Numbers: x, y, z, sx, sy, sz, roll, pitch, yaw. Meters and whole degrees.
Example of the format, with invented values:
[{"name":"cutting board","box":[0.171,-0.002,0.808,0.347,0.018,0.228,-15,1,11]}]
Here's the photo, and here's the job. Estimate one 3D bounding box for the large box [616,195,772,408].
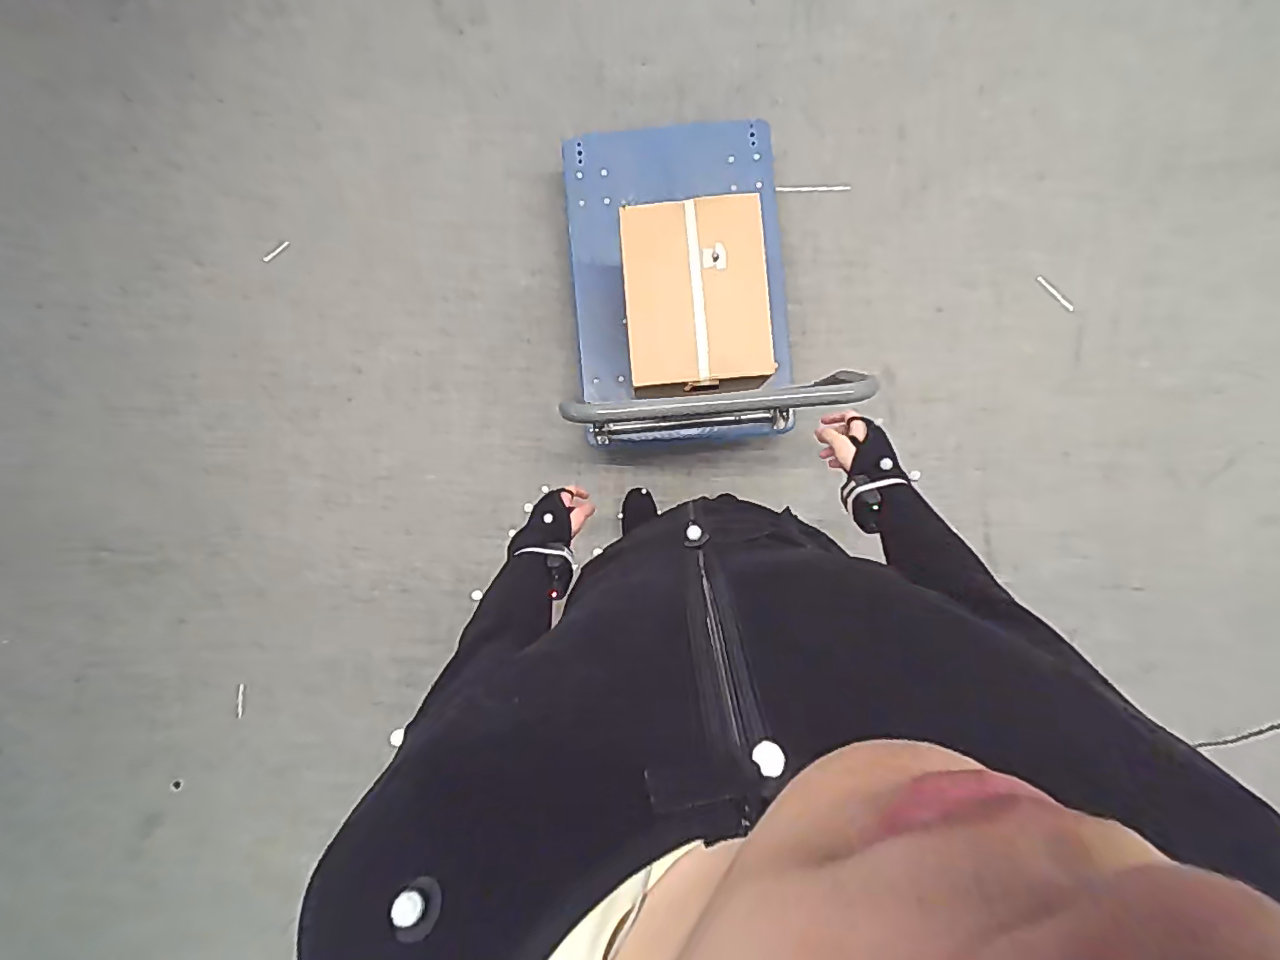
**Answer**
[{"name":"large box","box":[0.126,-0.414,1.340,0.320,0.320,0.408,-5,88,2]}]
